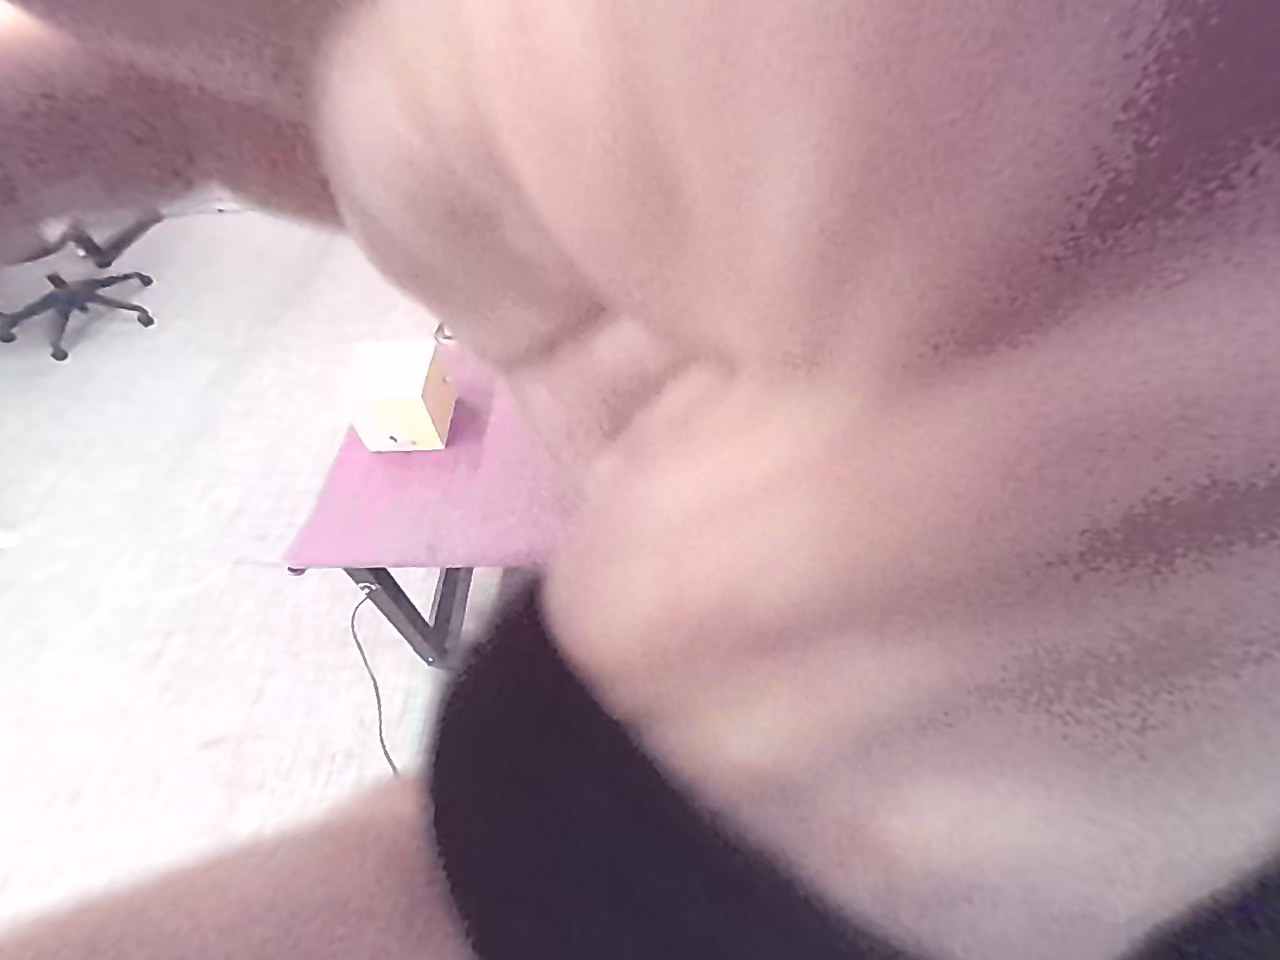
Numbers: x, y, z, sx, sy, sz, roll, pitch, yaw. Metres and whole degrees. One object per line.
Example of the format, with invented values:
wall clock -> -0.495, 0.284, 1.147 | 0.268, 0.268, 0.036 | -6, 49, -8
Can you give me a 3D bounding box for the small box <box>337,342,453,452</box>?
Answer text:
small box -> -0.518, -0.179, 1.175 | 0.168, 0.176, 0.179 | -2, 52, -1
